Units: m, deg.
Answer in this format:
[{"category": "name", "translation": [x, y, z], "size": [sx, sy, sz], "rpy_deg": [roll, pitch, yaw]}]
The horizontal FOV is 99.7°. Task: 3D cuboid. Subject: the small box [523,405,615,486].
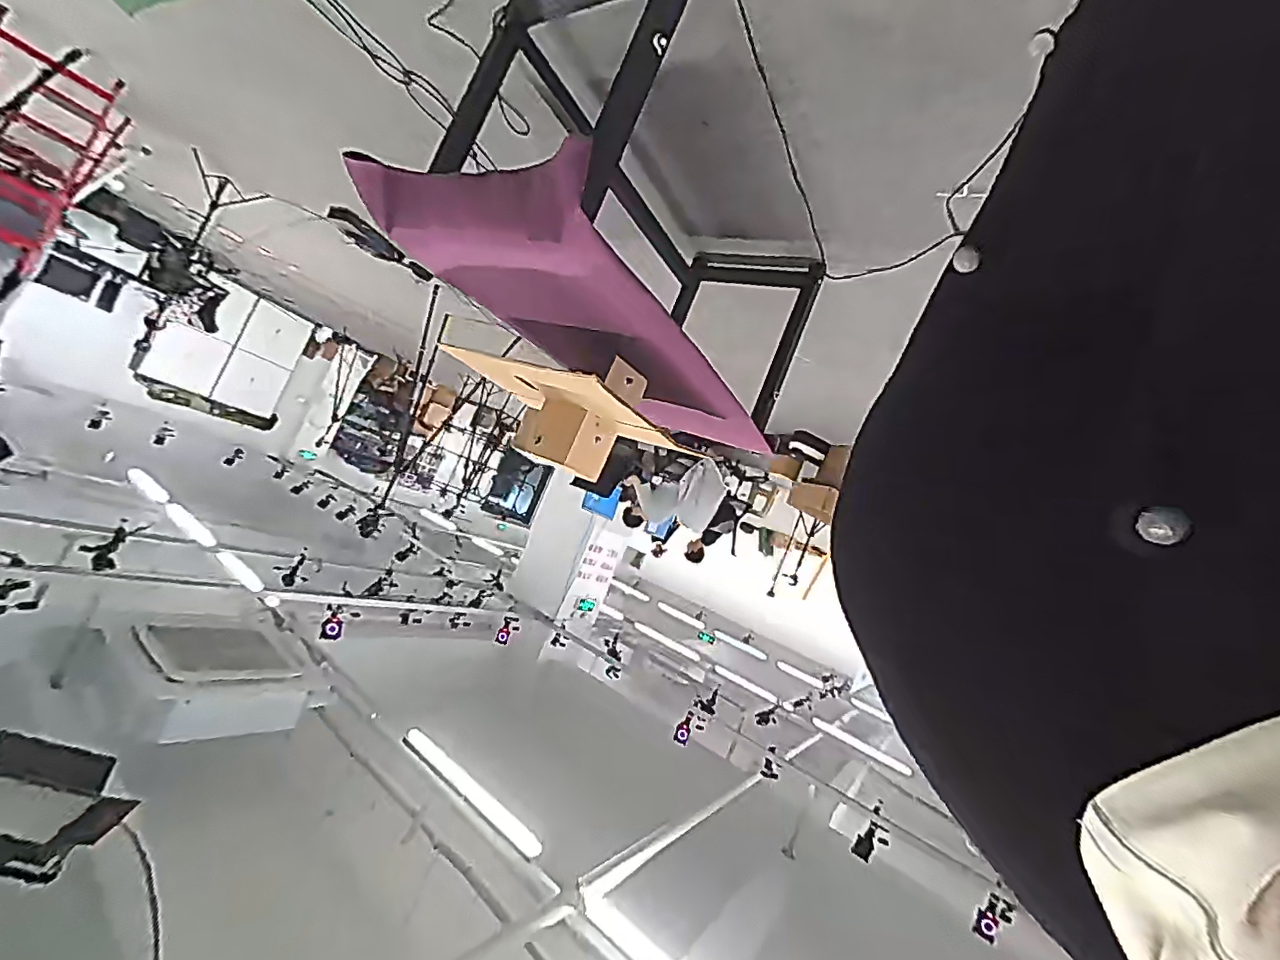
[{"category": "small box", "translation": [-0.202, -0.105, 1.584], "size": [0.179, 0.176, 0.168], "rpy_deg": [18, 172, 34]}]
